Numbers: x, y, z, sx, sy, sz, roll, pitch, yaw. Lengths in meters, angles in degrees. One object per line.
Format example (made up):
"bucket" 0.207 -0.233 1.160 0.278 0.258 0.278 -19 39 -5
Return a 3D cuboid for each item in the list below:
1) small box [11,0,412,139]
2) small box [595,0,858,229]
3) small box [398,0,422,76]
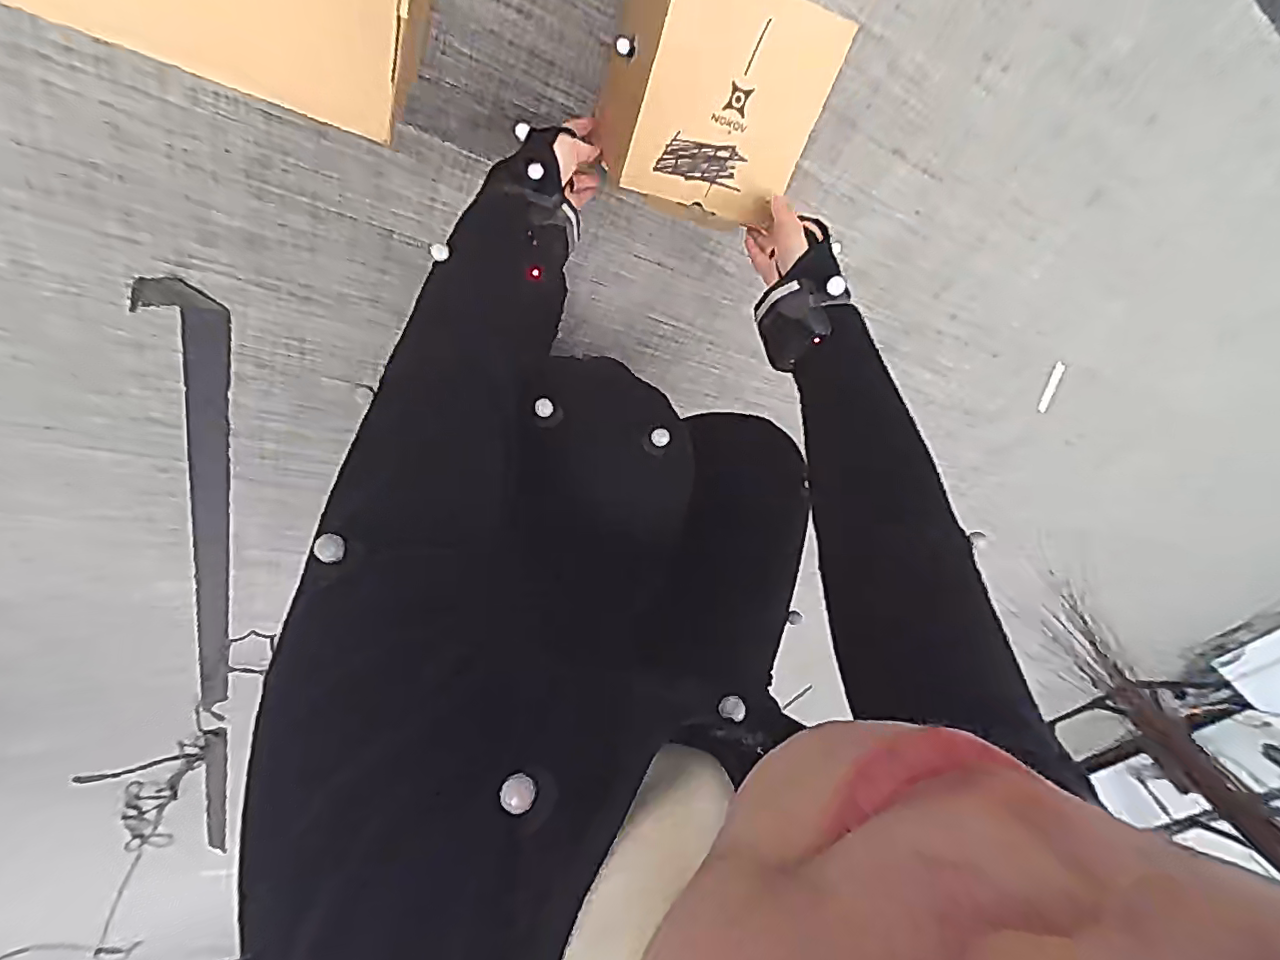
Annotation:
"small box" -0.201 -0.309 0.262 0.179 0.176 0.168 10 132 -26
"small box" 0.062 -0.380 0.519 0.168 0.176 0.179 5 133 -23
"small box" -0.234 -0.428 0.370 0.179 0.176 0.168 10 131 -28
